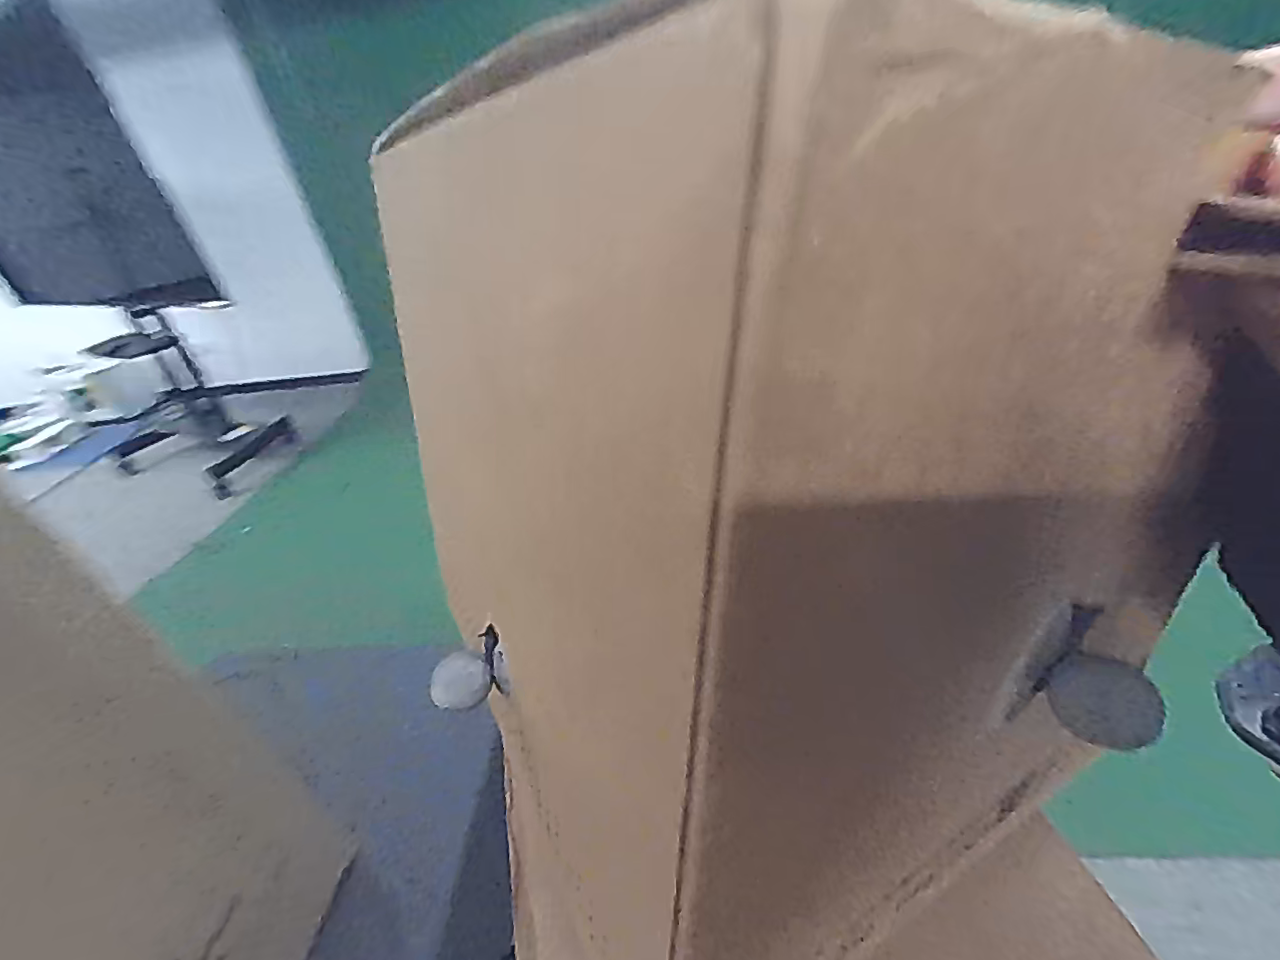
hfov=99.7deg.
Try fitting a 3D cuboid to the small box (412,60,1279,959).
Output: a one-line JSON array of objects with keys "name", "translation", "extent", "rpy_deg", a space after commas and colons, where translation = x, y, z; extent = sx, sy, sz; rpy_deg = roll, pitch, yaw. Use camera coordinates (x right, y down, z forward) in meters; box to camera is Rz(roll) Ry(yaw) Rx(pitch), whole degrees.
[{"name": "small box", "translation": [0.039, -0.003, 0.167], "extent": [0.168, 0.176, 0.179], "rpy_deg": [-12, 31, -24]}]
